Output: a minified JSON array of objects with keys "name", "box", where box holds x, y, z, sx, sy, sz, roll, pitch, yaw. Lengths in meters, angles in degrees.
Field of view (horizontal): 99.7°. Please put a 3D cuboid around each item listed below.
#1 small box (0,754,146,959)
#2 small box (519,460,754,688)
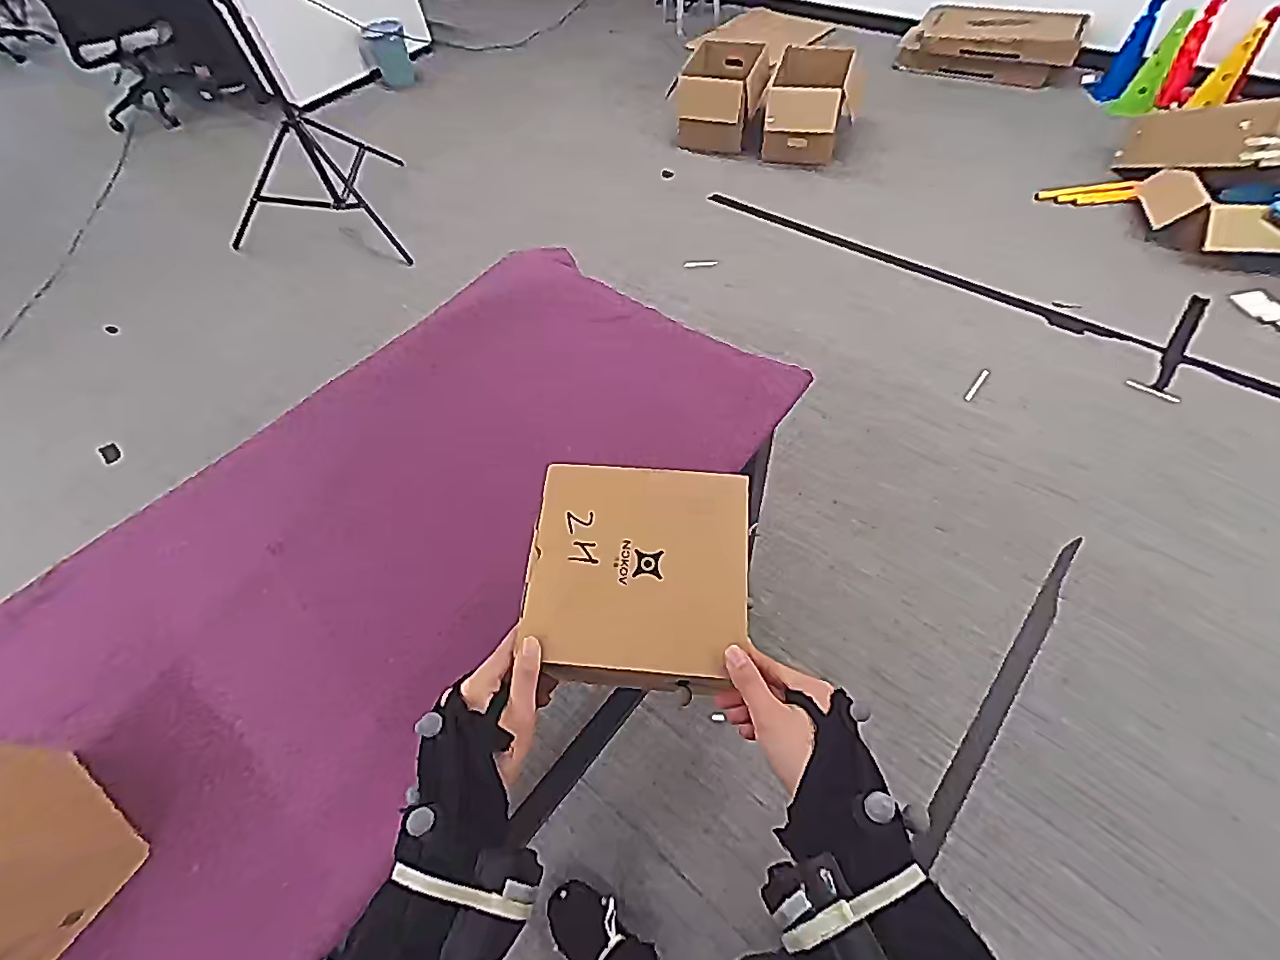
[{"name":"small box","box":[-0.608,0.358,0.475,0.179,0.176,0.168,26,63,20]},{"name":"small box","box":[0.007,0.096,0.504,0.179,0.176,0.168,3,64,6]}]
